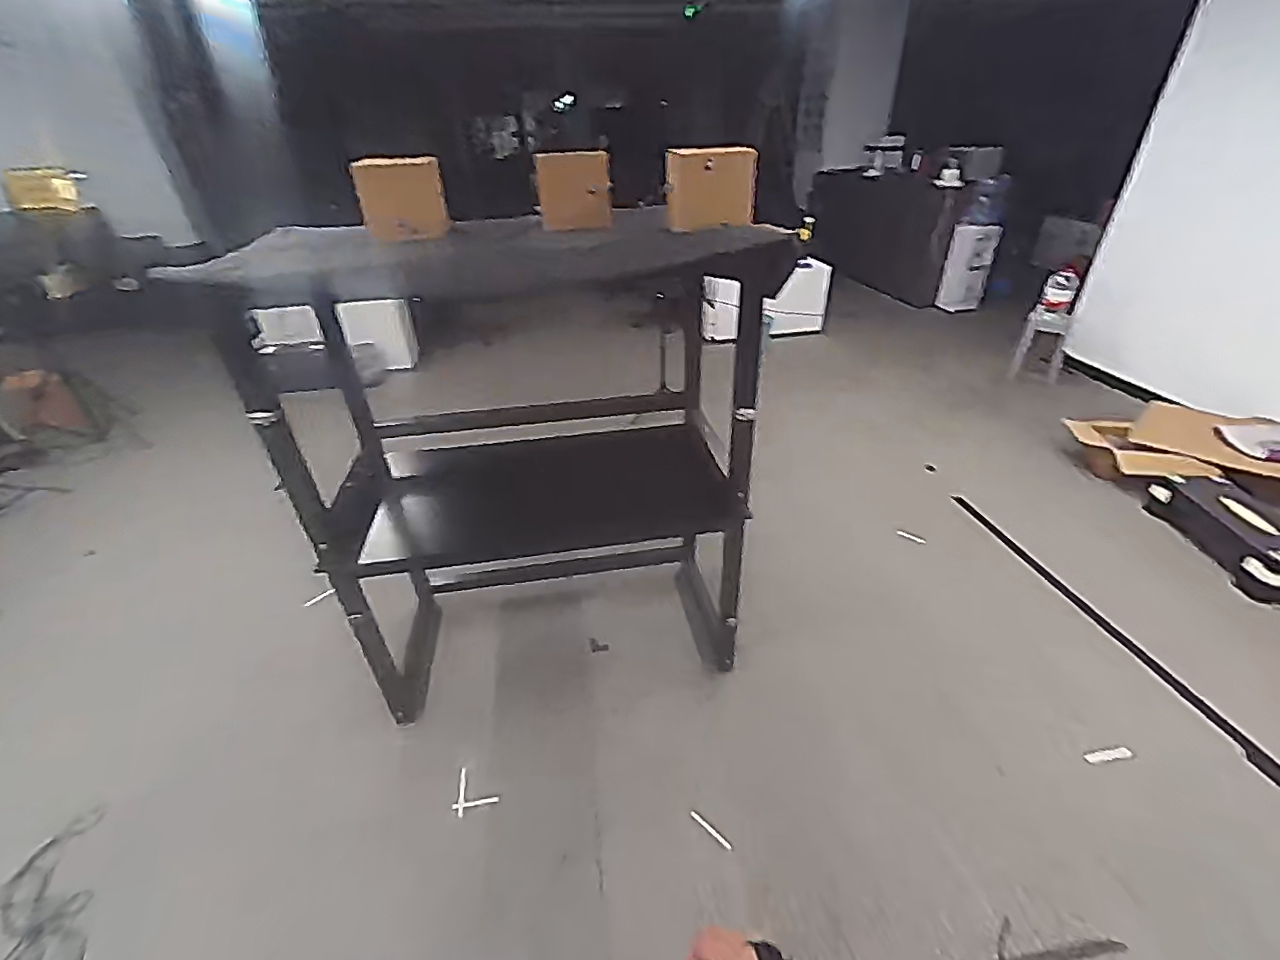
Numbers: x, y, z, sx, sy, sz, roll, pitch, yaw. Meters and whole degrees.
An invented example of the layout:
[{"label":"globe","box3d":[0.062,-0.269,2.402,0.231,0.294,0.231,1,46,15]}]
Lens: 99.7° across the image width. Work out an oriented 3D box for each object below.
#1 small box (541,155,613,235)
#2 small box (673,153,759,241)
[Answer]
[{"label":"small box","box3d":[-0.161,-0.746,1.413,0.179,0.176,0.168,-5,32,-5]},{"label":"small box","box3d":[0.166,-0.653,1.246,0.168,0.176,0.179,-5,32,-3]}]
